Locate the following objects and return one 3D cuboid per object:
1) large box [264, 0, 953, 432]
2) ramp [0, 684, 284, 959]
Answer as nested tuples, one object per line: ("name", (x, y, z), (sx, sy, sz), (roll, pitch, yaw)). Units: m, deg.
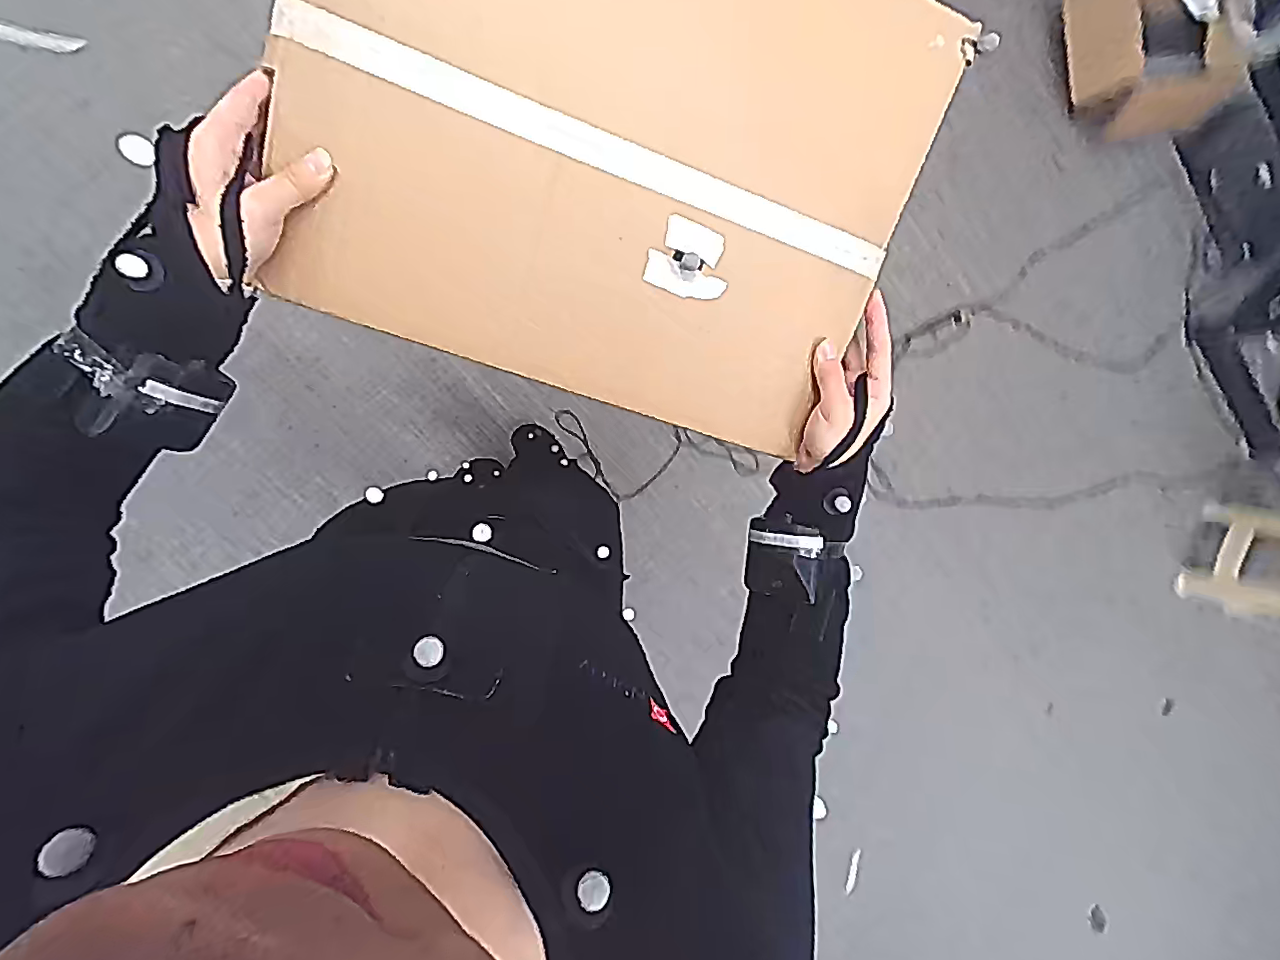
("large box", (-0.041, -0.269, 0.498), (0.408, 0.320, 0.320), (15, 106, -13))
("ramp", (-1.354, 0.955, 1.123), (0.991, 0.206, 0.509), (-43, 102, -7))
